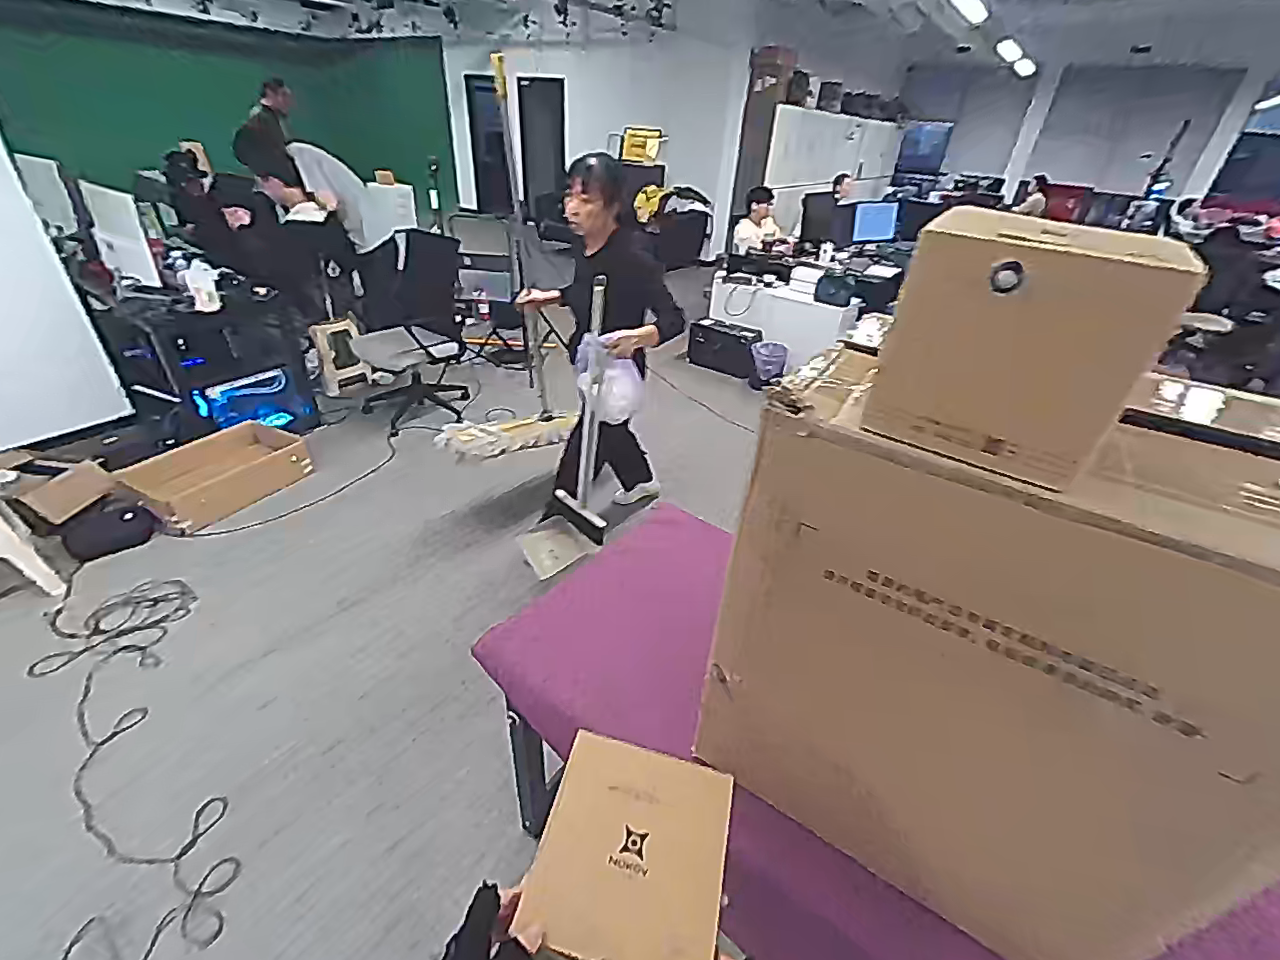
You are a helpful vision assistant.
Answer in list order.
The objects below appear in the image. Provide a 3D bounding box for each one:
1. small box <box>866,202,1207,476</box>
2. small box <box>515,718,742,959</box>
[{"bbox_3d":[0.315,-0.130,0.464,0.168,0.176,0.179,24,38,26],"label":"small box"},{"bbox_3d":[-0.007,0.373,0.526,0.168,0.176,0.179,14,41,6],"label":"small box"}]
